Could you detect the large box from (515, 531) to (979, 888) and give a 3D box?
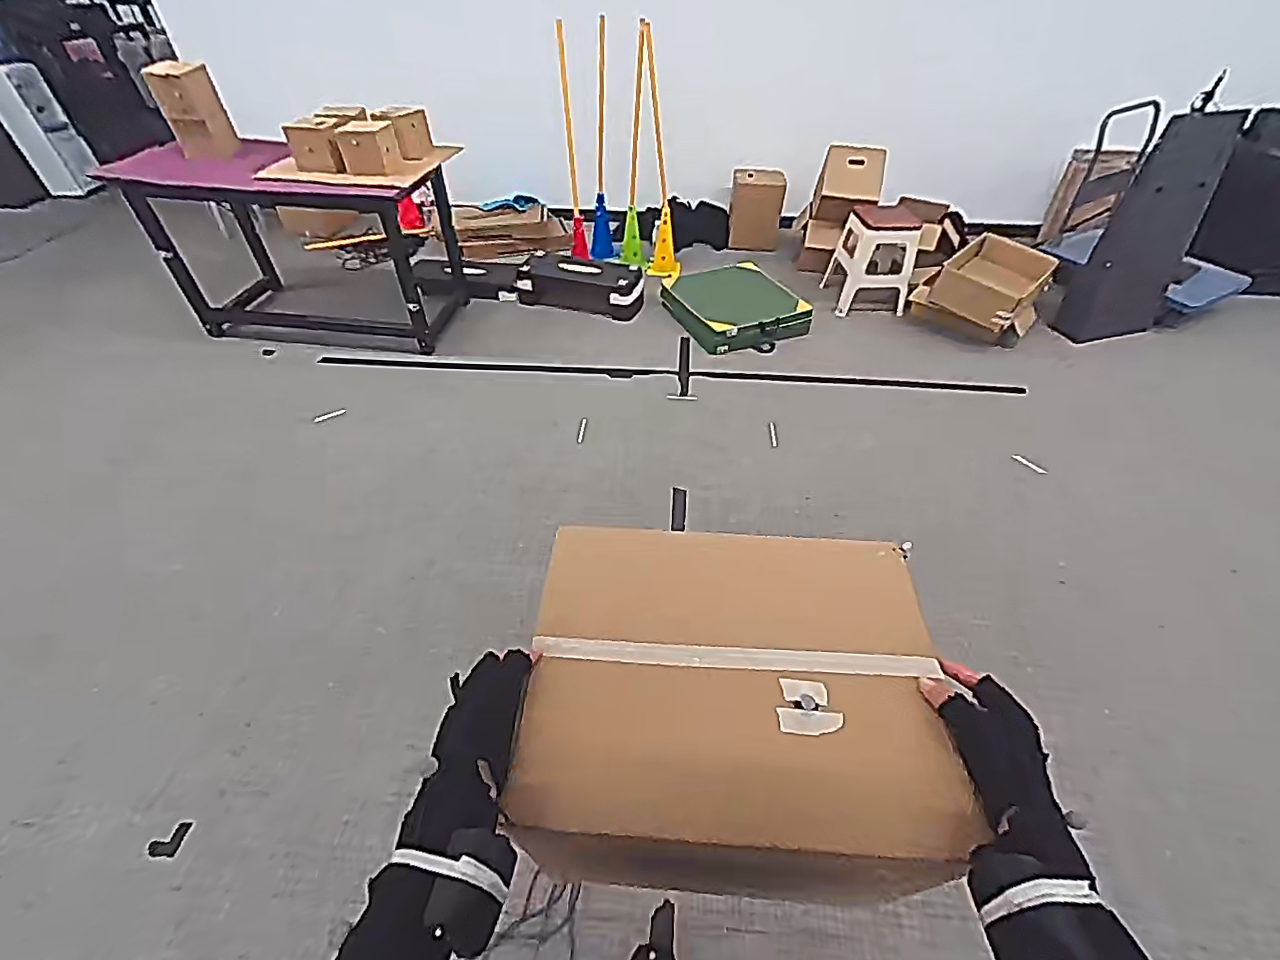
[{"bbox_3d":[0.096,0.283,0.666,0.408,0.320,0.320,3,48,3],"label":"large box"}]
